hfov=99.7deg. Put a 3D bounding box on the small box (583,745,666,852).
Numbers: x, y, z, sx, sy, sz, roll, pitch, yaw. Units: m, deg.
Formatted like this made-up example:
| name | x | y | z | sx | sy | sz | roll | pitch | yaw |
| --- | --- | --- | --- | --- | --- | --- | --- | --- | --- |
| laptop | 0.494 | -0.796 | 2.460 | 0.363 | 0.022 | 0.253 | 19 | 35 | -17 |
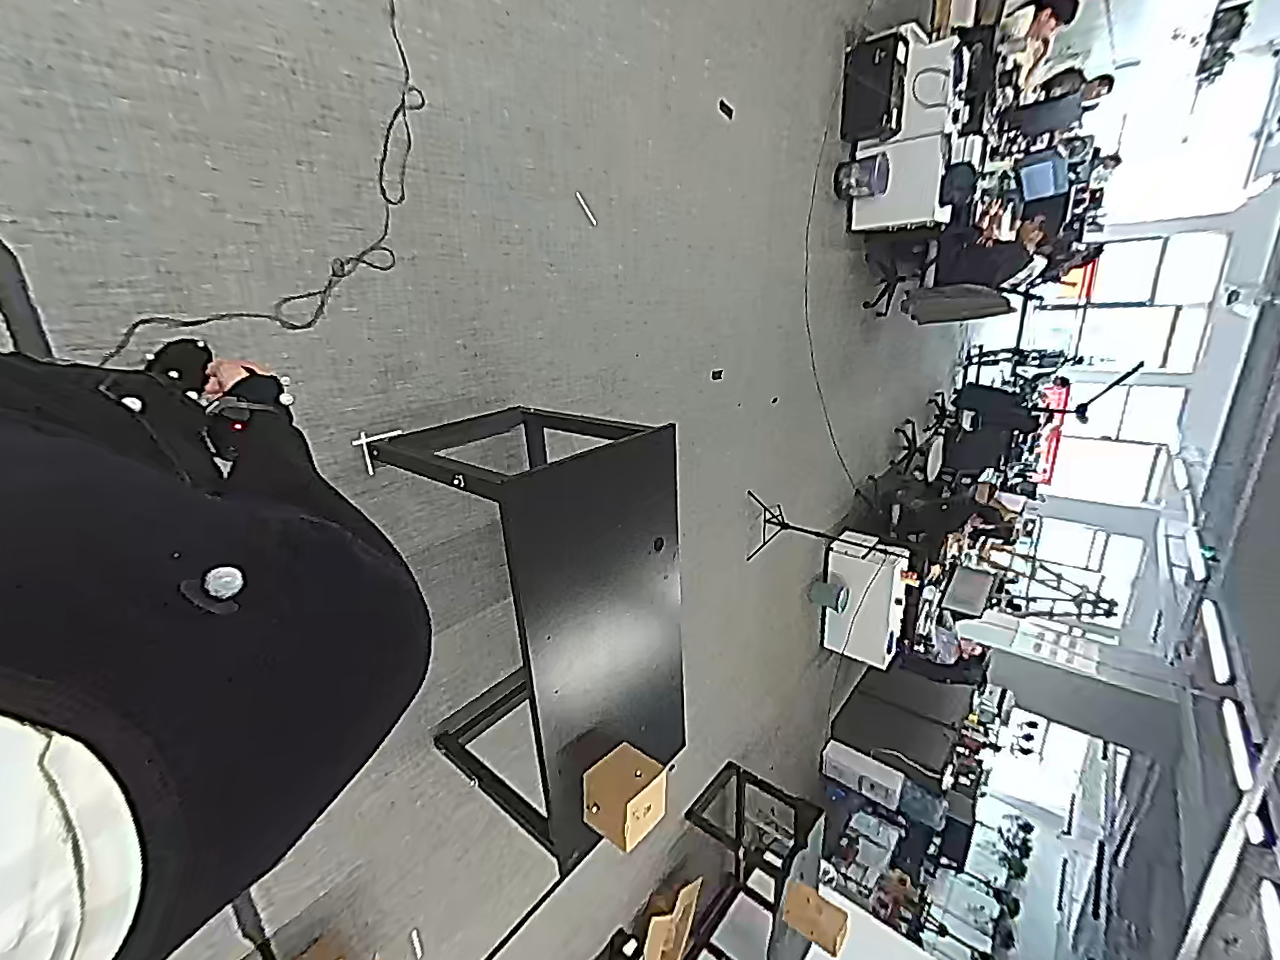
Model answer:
| name | x | y | z | sx | sy | sz | roll | pitch | yaw |
| --- | --- | --- | --- | --- | --- | --- | --- | --- | --- |
| small box | -0.045 | 0.908 | 1.562 | 0.179 | 0.176 | 0.168 | -14 | 109 | -48 |
